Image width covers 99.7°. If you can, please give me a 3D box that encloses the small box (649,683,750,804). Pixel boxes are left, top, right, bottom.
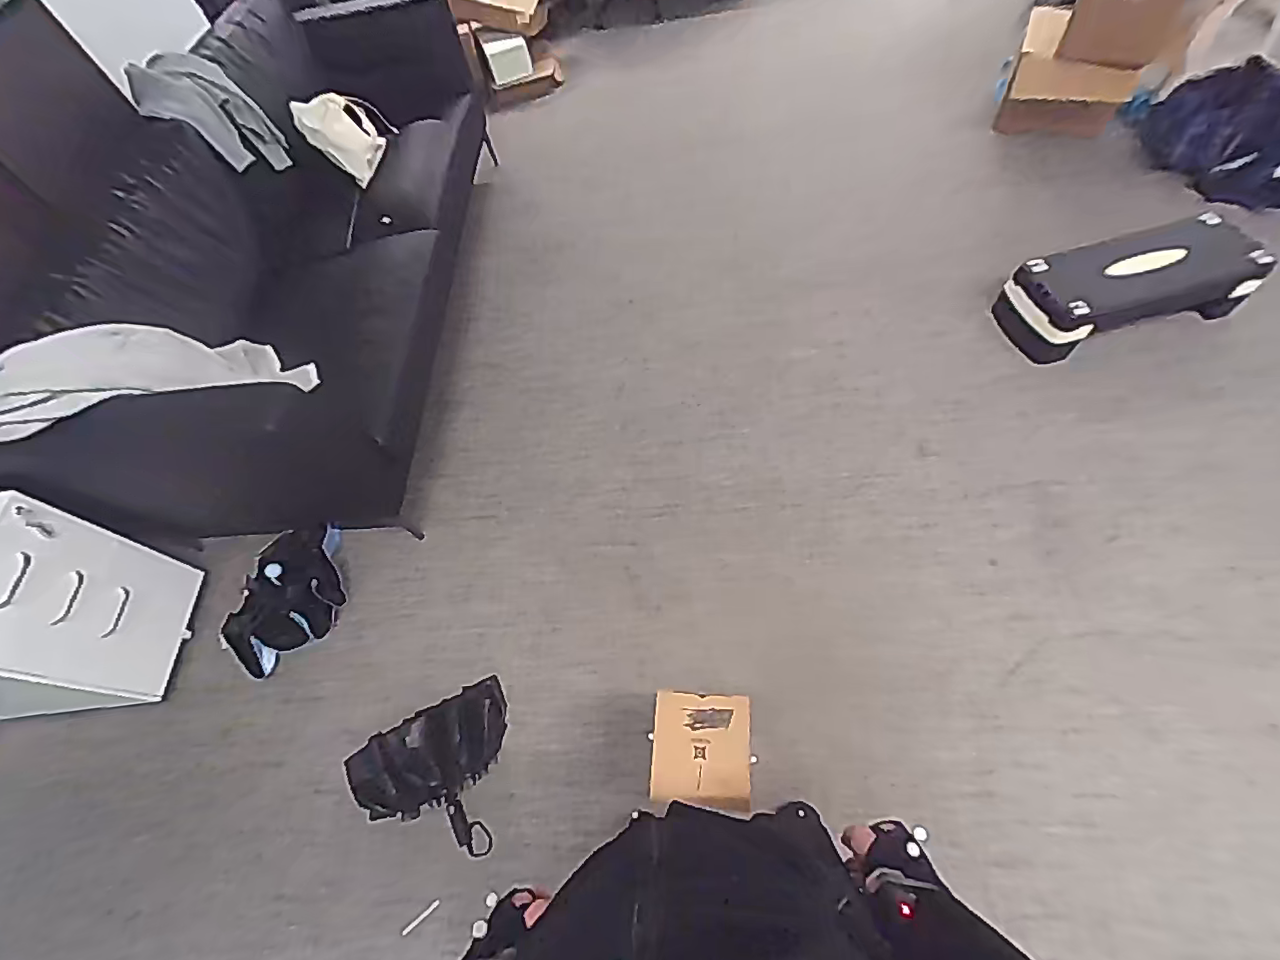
[{"bbox_3d":[0.113,0.484,0.995,0.168,0.176,0.179,1,62,9],"label":"small box"}]
